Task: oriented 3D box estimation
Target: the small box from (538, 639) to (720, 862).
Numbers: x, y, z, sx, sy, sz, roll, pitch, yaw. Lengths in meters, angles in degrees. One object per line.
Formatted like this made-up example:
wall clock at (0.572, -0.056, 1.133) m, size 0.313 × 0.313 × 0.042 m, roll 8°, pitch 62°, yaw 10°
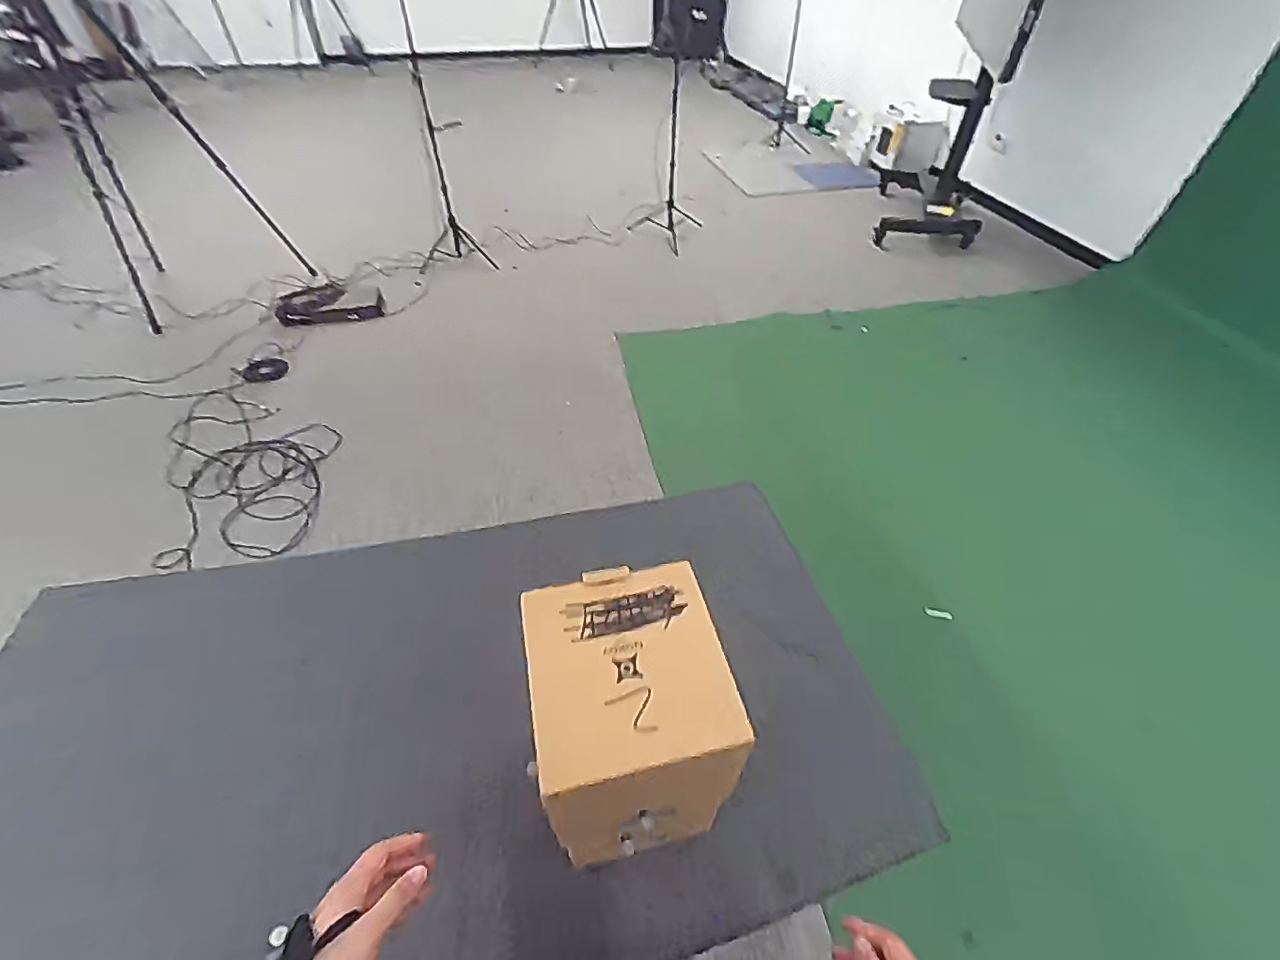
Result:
small box at (-0.018, 0.317, 0.626) m, size 0.168 × 0.176 × 0.179 m, roll -10°, pitch 46°, yaw -10°
